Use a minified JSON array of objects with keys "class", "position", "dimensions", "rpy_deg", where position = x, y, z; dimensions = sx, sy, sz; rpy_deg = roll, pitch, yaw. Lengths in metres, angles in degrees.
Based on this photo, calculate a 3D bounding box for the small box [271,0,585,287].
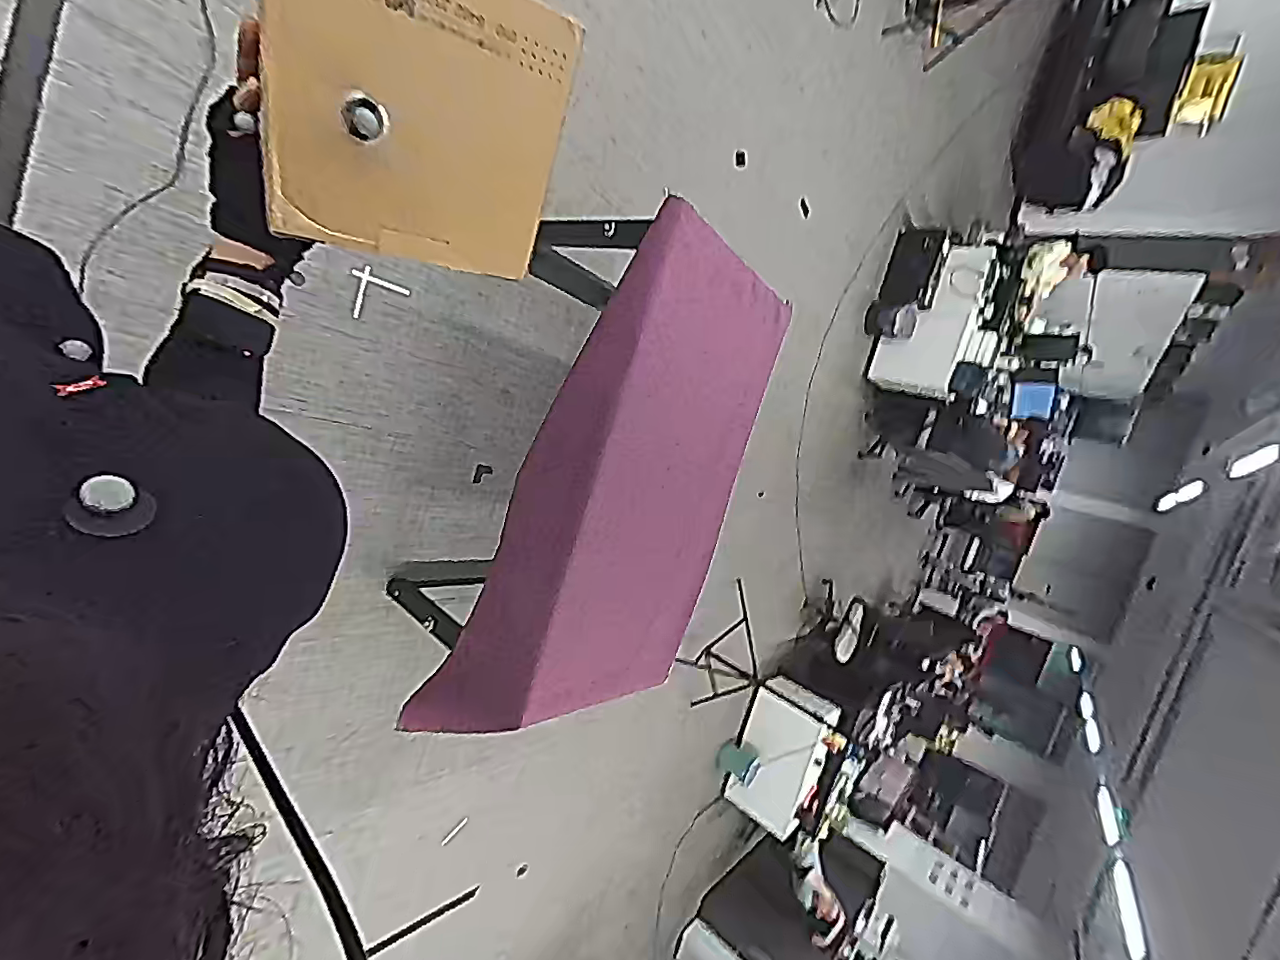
[{"class":"small box","position":[-0.156,-0.265,0.380],"dimensions":[0.168,0.179,0.176],"rpy_deg":[1,129,-37]}]
